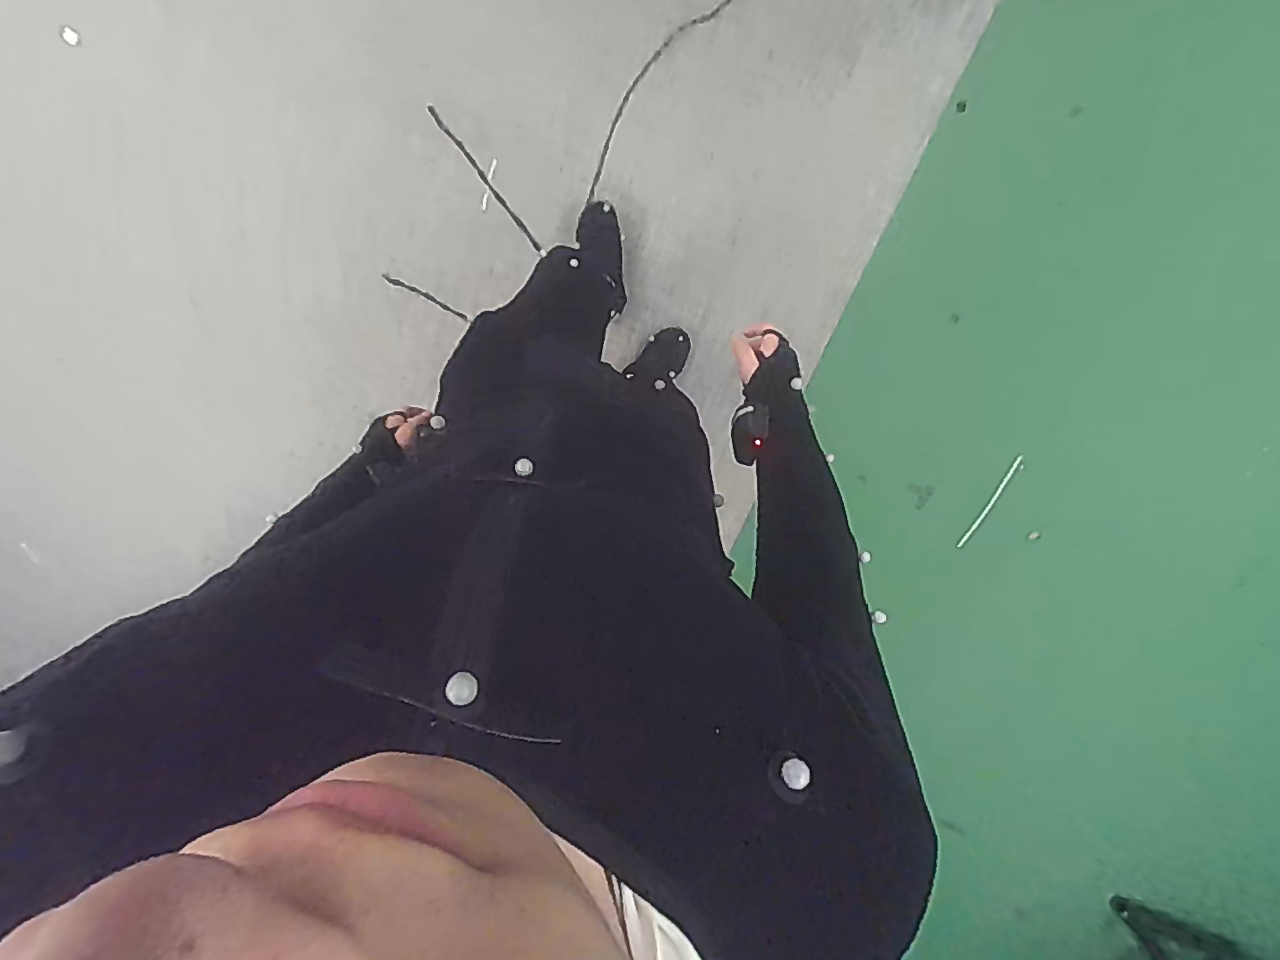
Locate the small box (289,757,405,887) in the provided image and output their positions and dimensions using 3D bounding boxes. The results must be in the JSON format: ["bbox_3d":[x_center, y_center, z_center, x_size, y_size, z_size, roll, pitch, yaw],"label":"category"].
[{"bbox_3d":[-0.690,0.808,1.289,0.168,0.176,0.179,24,110,-5],"label":"small box"}]
